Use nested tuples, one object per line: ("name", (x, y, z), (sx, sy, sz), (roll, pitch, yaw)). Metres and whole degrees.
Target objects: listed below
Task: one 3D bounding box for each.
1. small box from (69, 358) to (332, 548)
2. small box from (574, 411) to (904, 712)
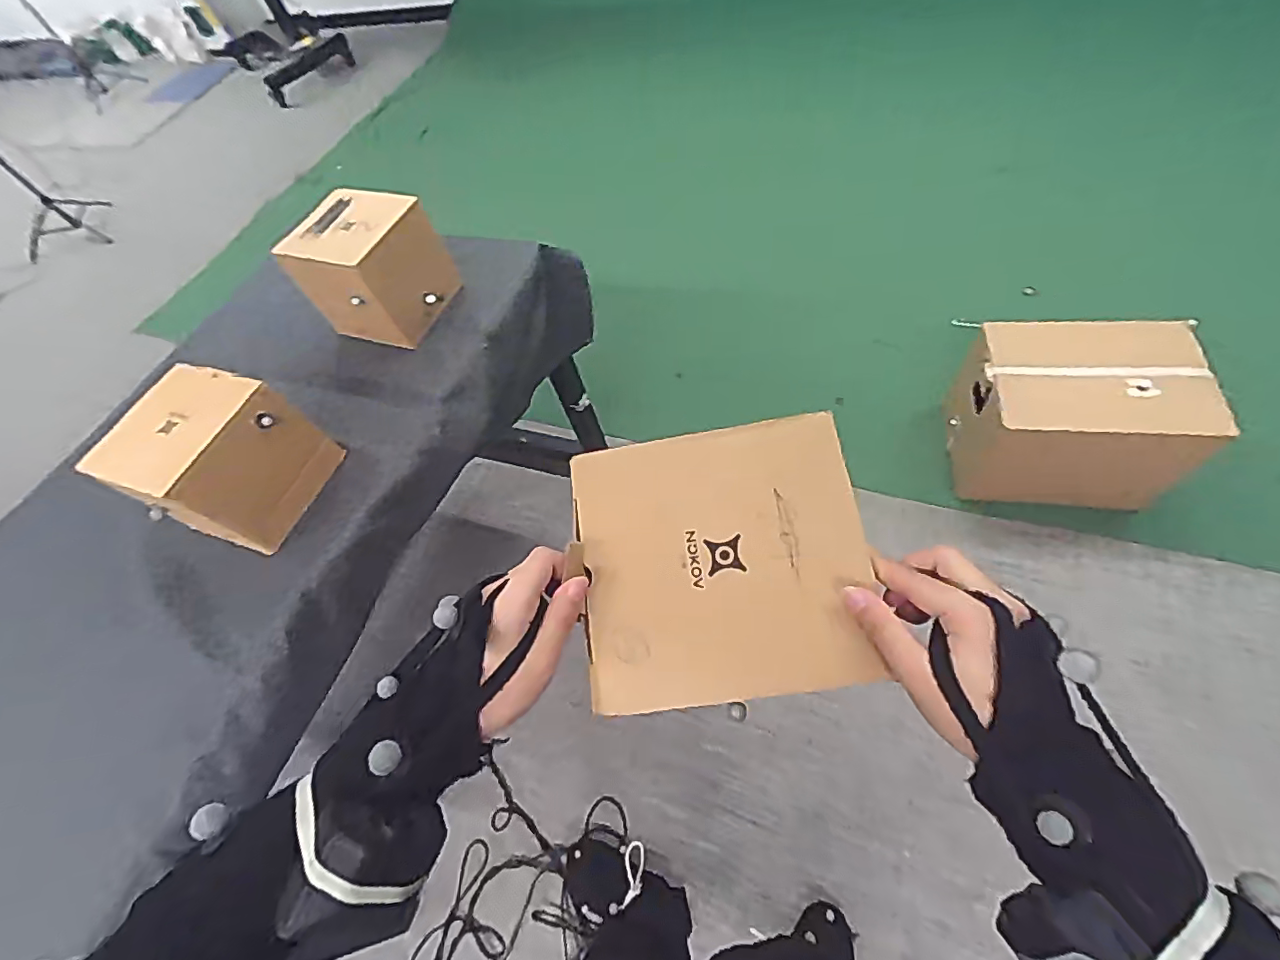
("small box", (-0.560, -0.032, 0.718), (0.168, 0.176, 0.179), (13, 61, 18))
("small box", (0.060, 0.069, 0.400), (0.179, 0.176, 0.168), (-9, 72, 4))
